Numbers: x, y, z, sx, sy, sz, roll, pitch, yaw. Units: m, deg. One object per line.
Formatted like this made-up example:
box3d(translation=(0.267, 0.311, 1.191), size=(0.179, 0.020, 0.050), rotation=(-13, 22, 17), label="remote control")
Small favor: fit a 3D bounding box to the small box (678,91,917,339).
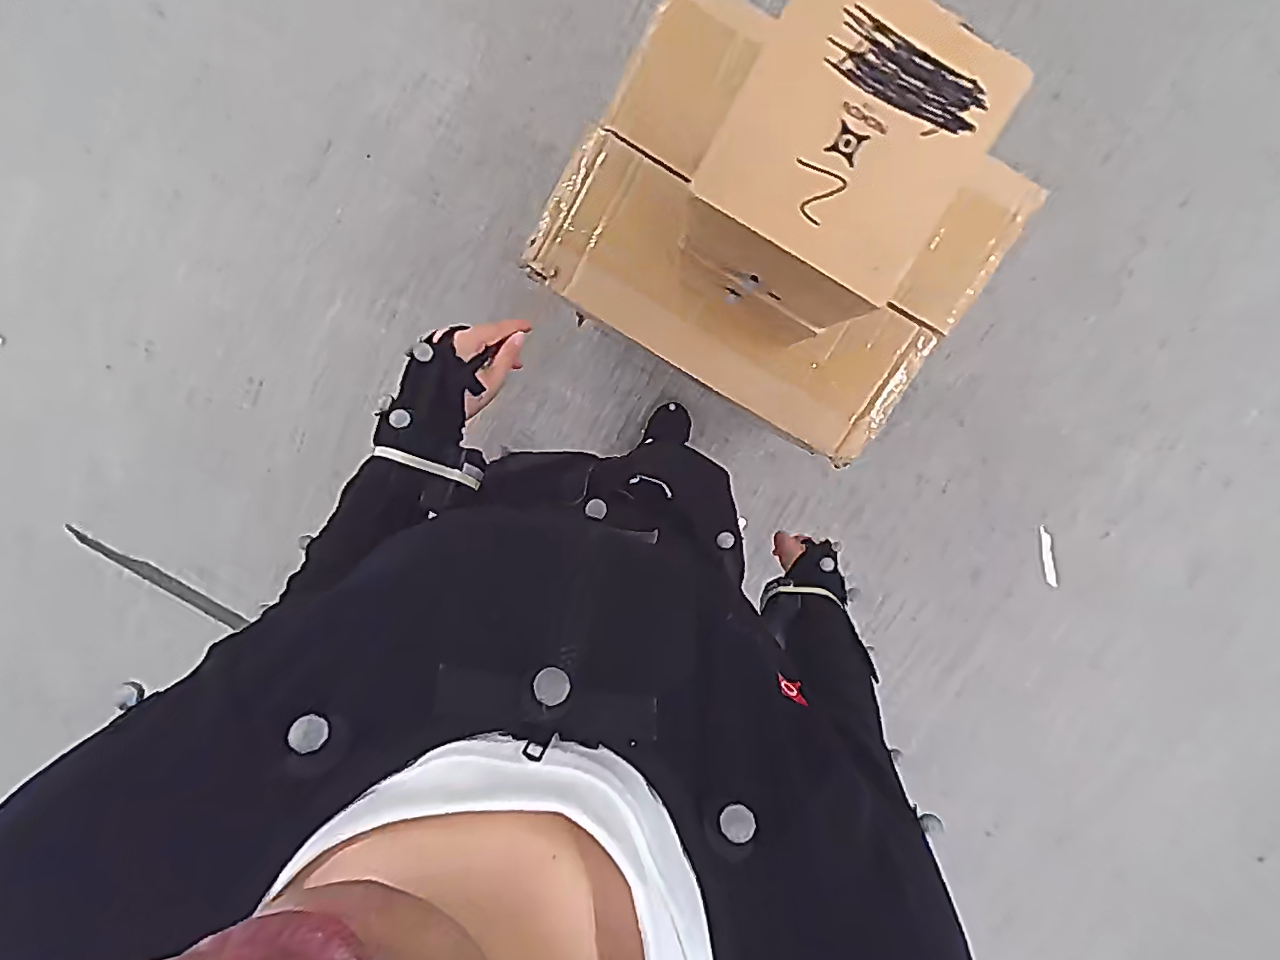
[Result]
box3d(translation=(0.157, -0.273, 0.608), size=(0.179, 0.176, 0.168), rotation=(31, 101, -2), label="small box")
